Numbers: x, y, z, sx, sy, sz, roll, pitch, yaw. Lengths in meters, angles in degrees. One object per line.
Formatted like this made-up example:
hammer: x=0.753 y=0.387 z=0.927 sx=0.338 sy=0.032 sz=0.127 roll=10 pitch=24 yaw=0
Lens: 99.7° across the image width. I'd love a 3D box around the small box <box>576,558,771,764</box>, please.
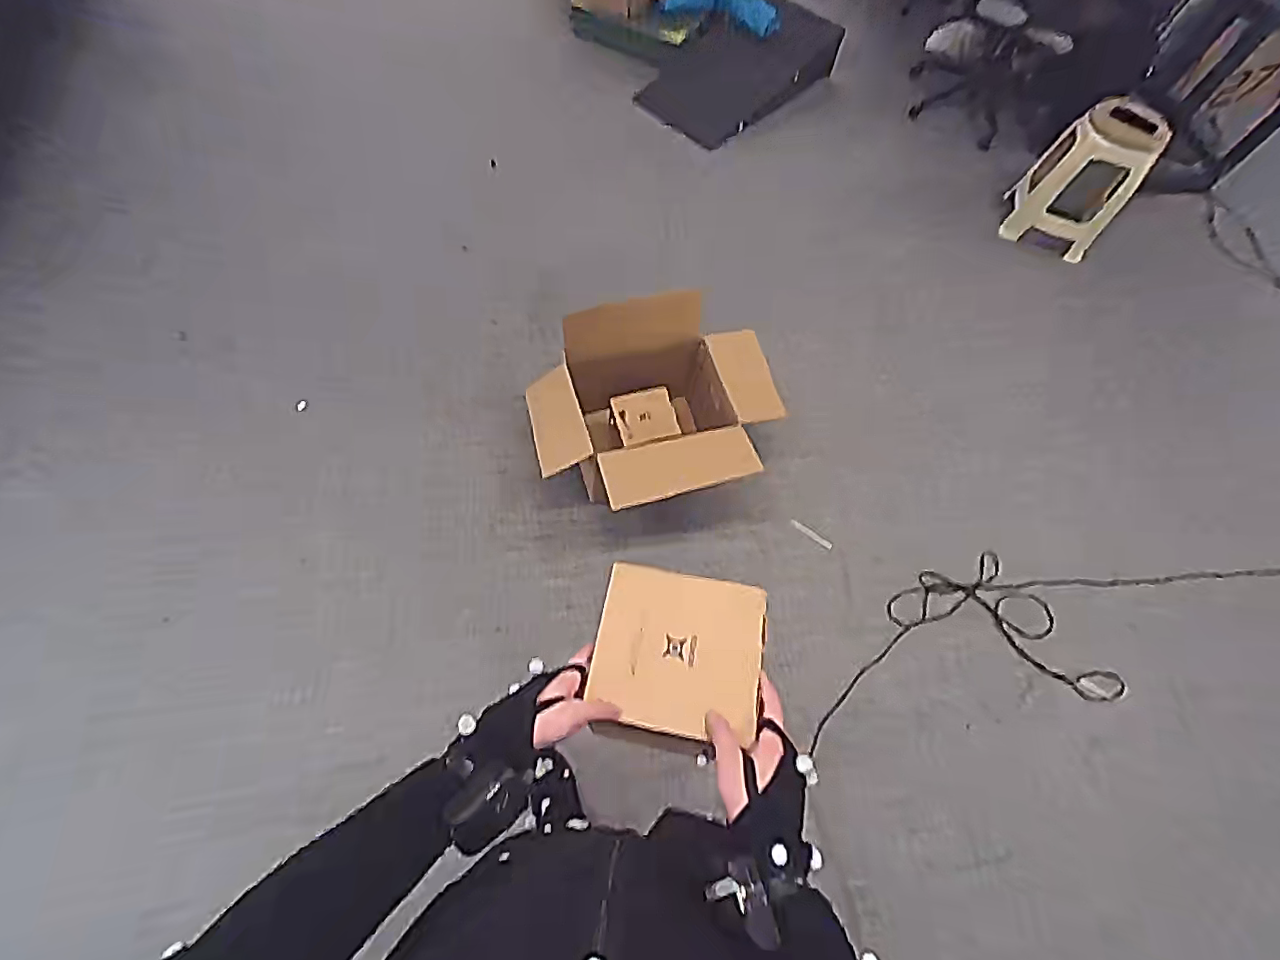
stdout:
small box: x=0.041 y=0.214 z=0.623 sx=0.179 sy=0.176 sz=0.168 roll=10 pitch=56 yaw=9
